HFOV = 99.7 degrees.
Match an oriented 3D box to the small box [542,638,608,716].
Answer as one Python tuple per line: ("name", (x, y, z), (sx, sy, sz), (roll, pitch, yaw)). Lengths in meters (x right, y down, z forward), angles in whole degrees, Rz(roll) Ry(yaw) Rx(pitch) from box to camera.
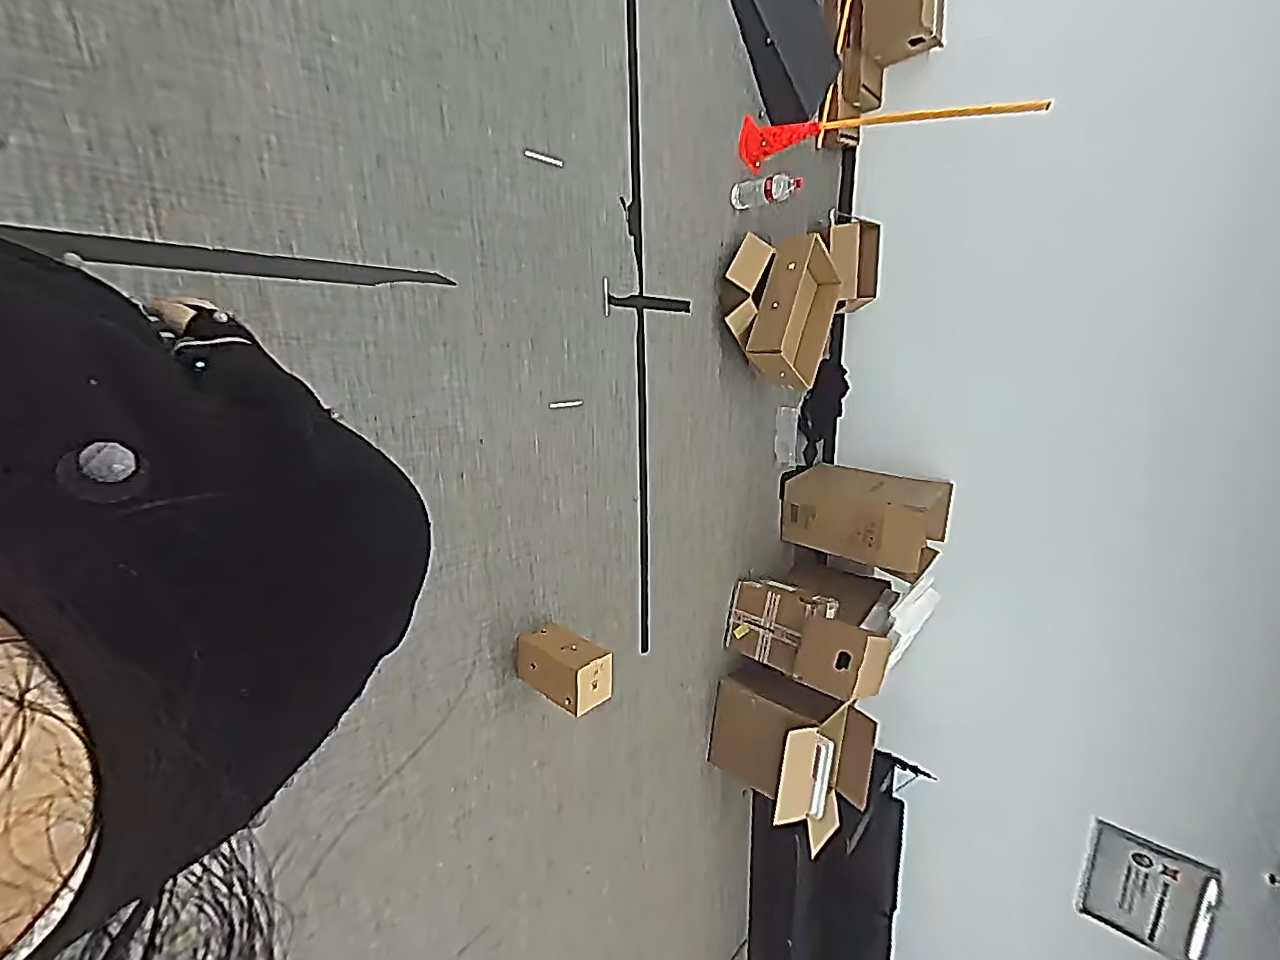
("small box", (-0.230, 0.683, 1.892), (0.168, 0.176, 0.179), (-11, 106, -48))
